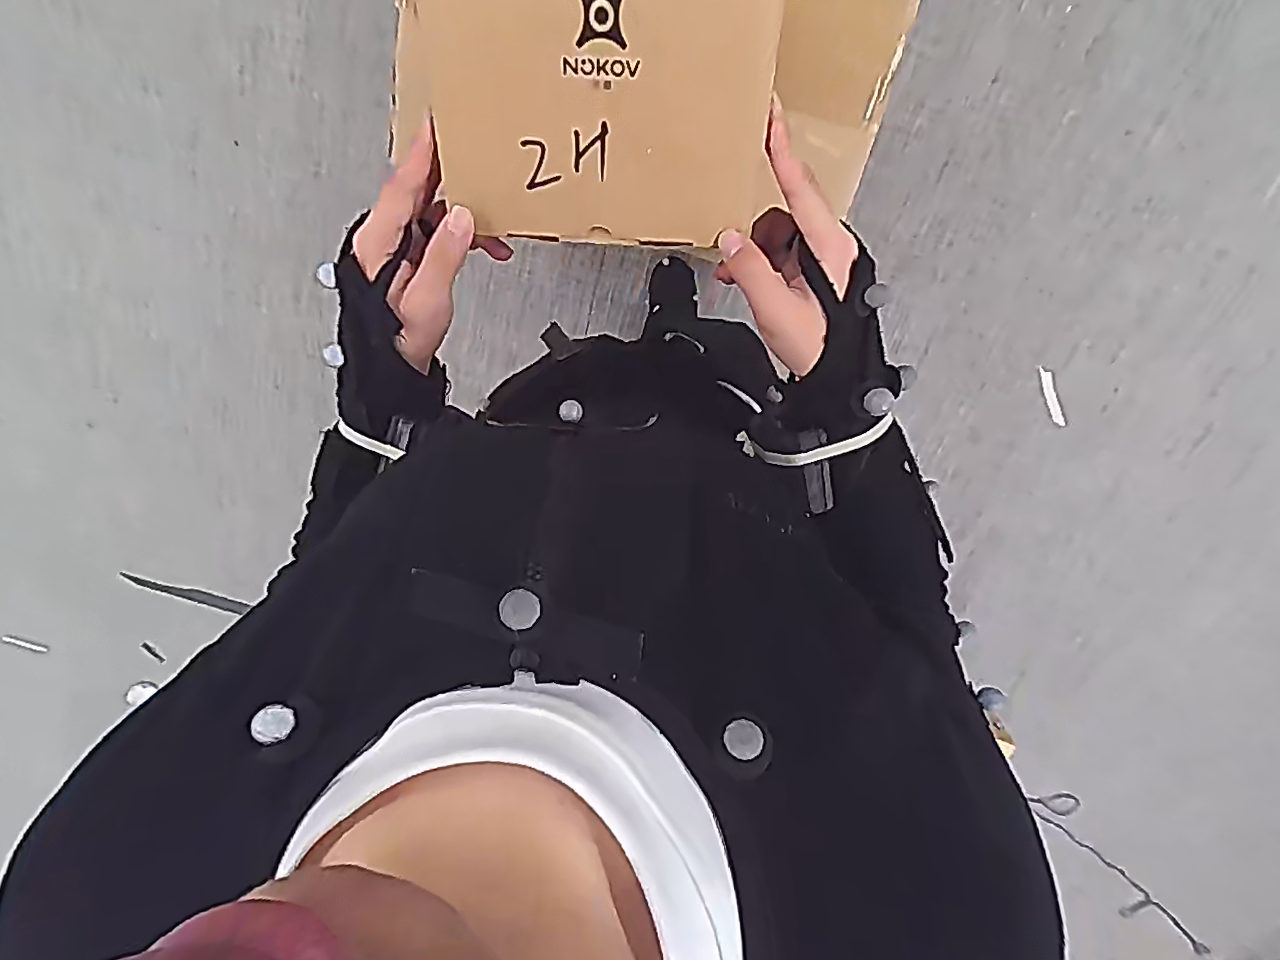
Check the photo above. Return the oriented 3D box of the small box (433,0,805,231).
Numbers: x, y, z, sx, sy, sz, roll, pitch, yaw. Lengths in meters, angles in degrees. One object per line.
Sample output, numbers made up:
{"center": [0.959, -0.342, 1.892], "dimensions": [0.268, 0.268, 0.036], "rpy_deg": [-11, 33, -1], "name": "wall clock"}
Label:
{"center": [-0.007, -0.252, 0.303], "dimensions": [0.168, 0.176, 0.179], "rpy_deg": [4, 124, 1], "name": "small box"}
